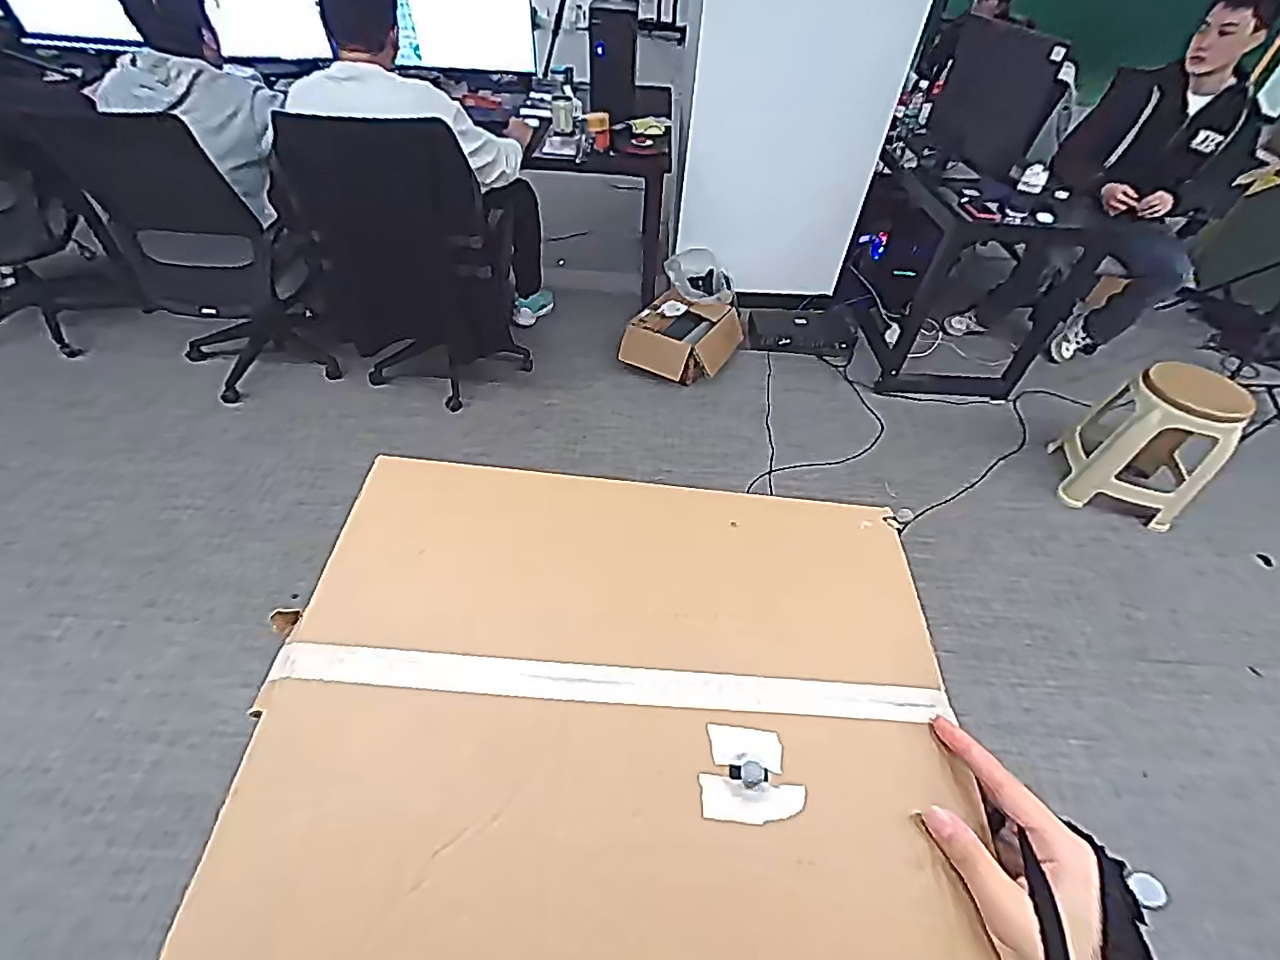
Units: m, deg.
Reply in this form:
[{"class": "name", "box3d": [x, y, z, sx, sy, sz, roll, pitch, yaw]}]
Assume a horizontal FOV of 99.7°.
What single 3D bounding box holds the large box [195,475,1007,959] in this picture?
[{"class": "large box", "box3d": [-0.023, 0.224, 0.455, 0.408, 0.320, 0.320, 6, 53, -5]}]
